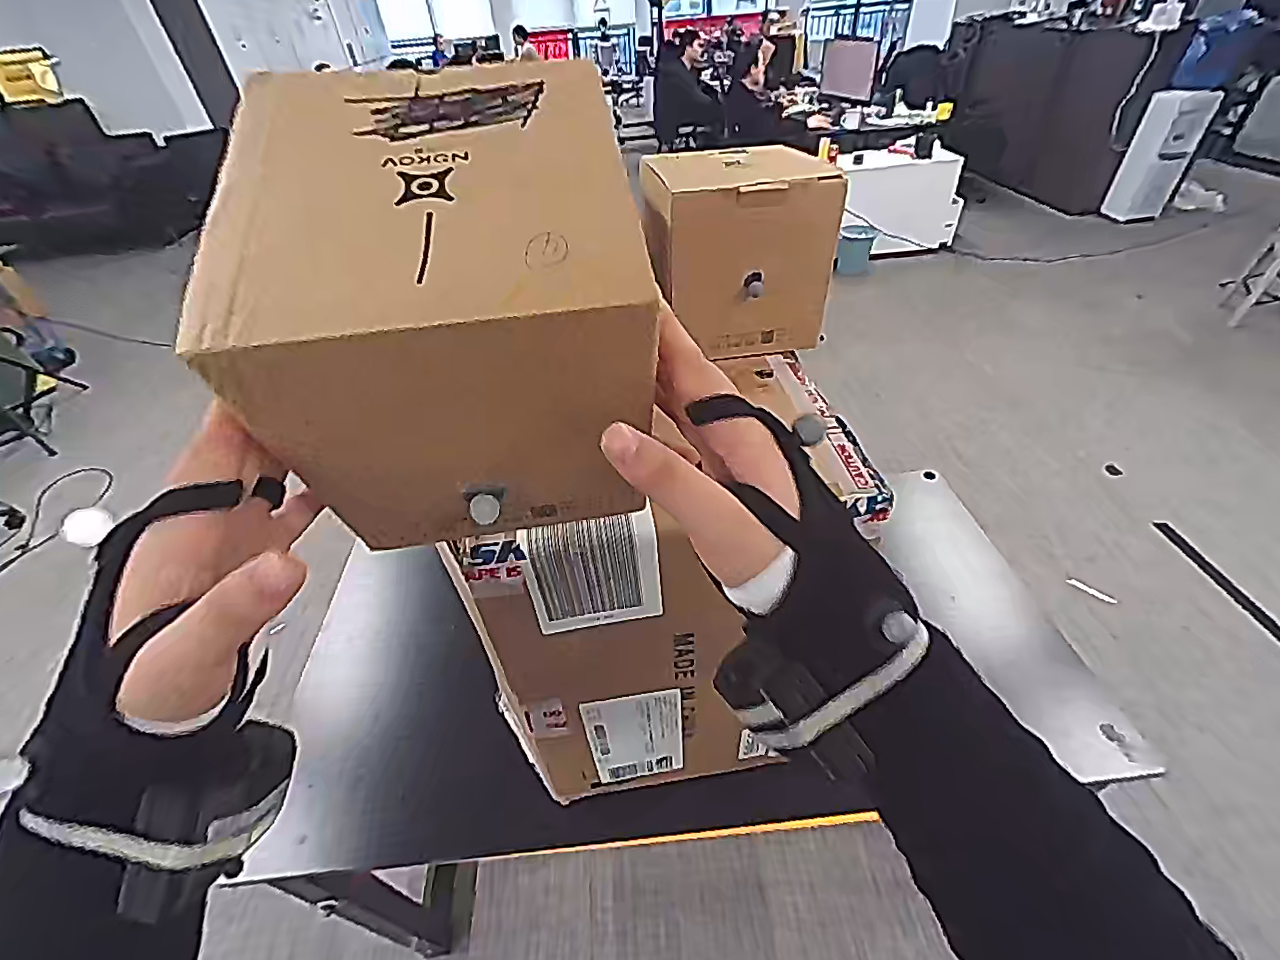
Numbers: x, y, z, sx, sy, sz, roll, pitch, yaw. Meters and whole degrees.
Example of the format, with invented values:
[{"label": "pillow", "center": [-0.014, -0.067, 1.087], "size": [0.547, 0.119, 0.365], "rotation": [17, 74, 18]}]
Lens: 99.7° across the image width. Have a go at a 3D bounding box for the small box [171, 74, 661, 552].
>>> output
[{"label": "small box", "center": [-0.089, -0.081, 0.293], "size": [0.168, 0.176, 0.179], "rotation": [-9, 61, -6]}]
